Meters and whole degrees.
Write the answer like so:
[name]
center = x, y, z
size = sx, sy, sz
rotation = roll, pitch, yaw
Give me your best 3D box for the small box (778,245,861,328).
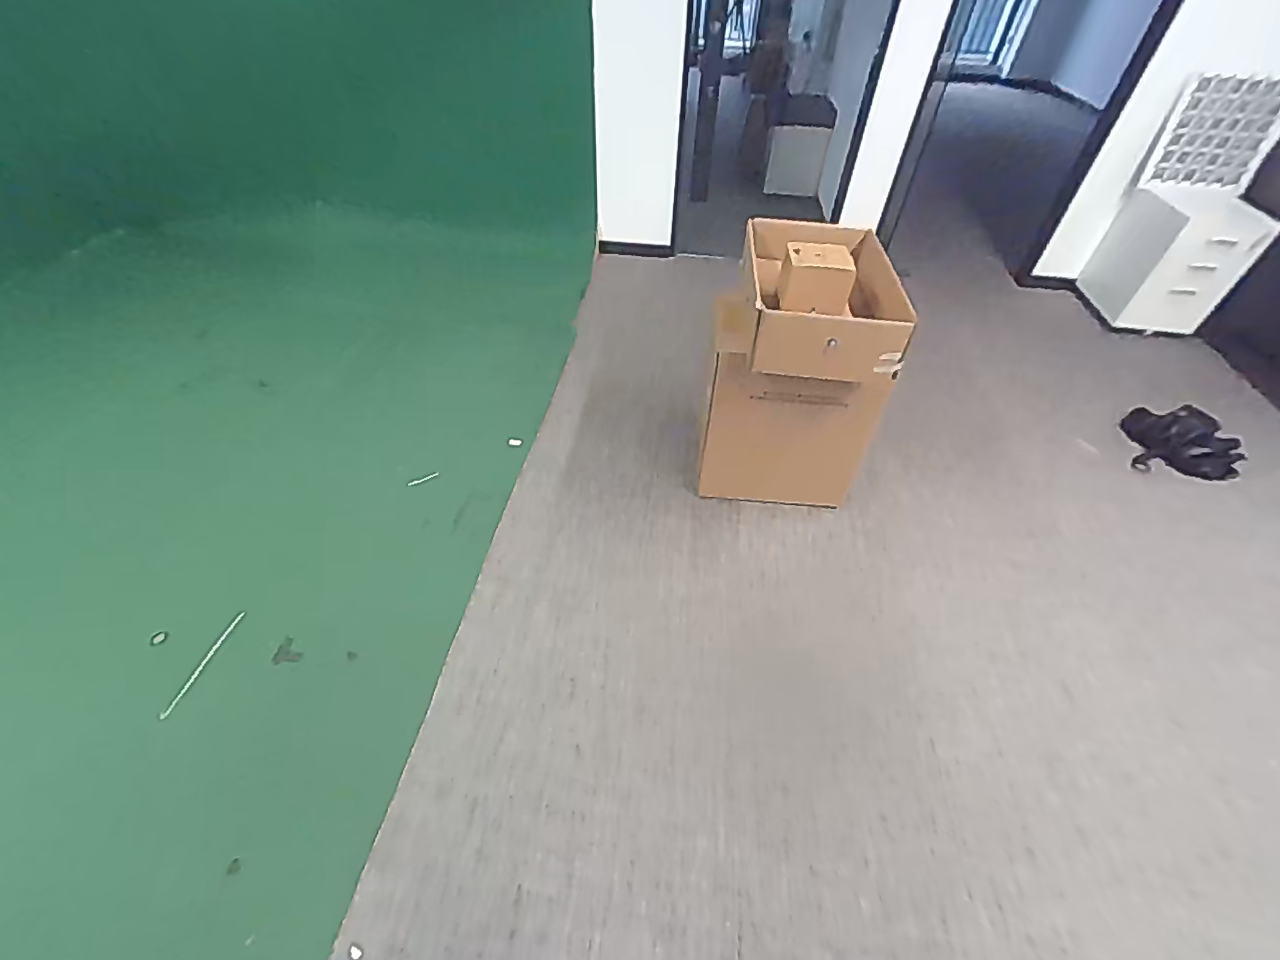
[small box]
center = 0.512, -0.558, 1.566
size = 0.179, 0.176, 0.168
rotation = 6, 44, 1
